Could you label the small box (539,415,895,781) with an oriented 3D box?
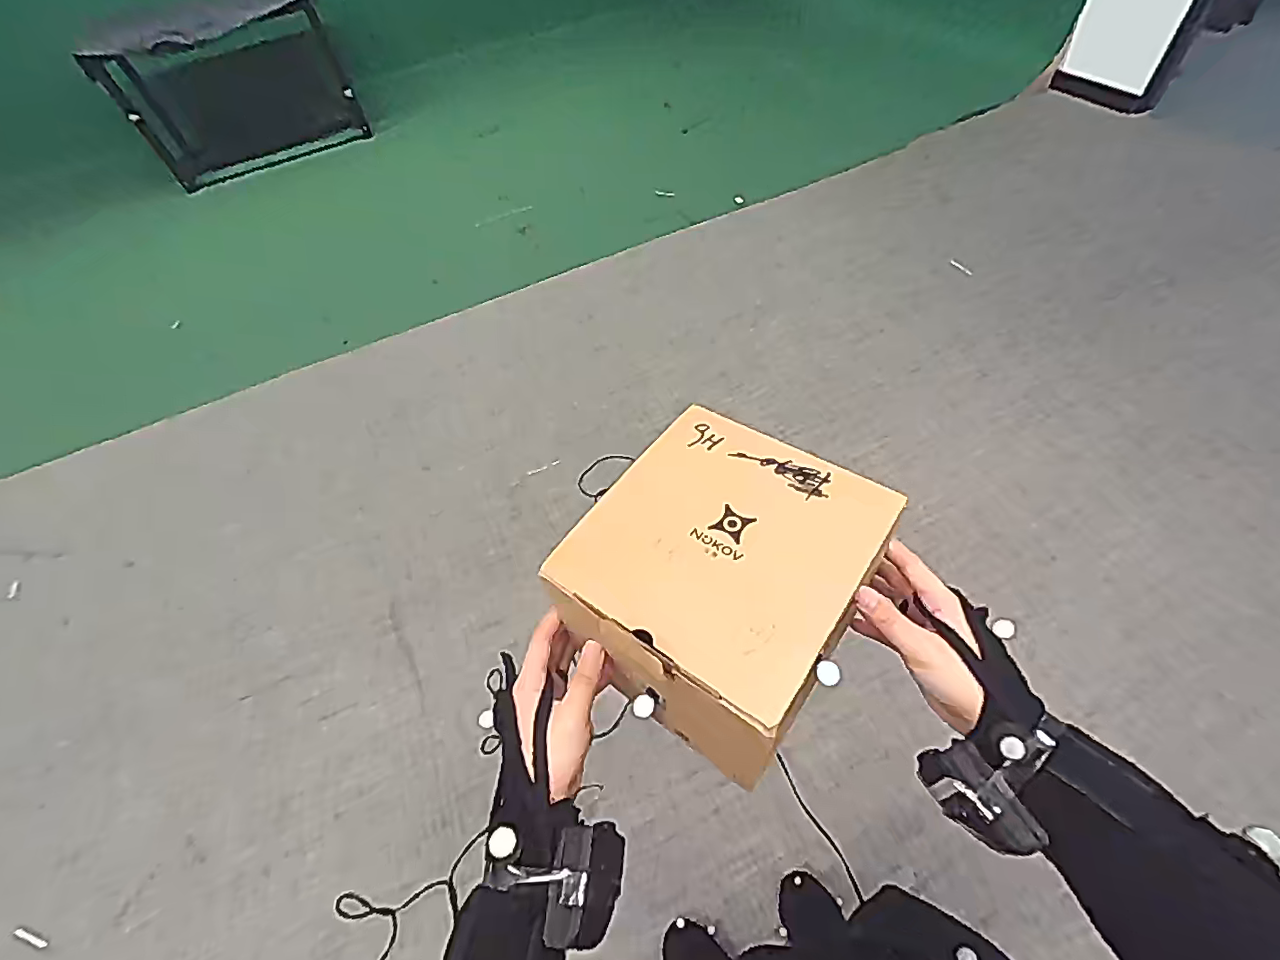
[{"bbox_3d":[0.059,0.090,0.405,0.168,0.176,0.179,28,61,26],"label":"small box"}]
